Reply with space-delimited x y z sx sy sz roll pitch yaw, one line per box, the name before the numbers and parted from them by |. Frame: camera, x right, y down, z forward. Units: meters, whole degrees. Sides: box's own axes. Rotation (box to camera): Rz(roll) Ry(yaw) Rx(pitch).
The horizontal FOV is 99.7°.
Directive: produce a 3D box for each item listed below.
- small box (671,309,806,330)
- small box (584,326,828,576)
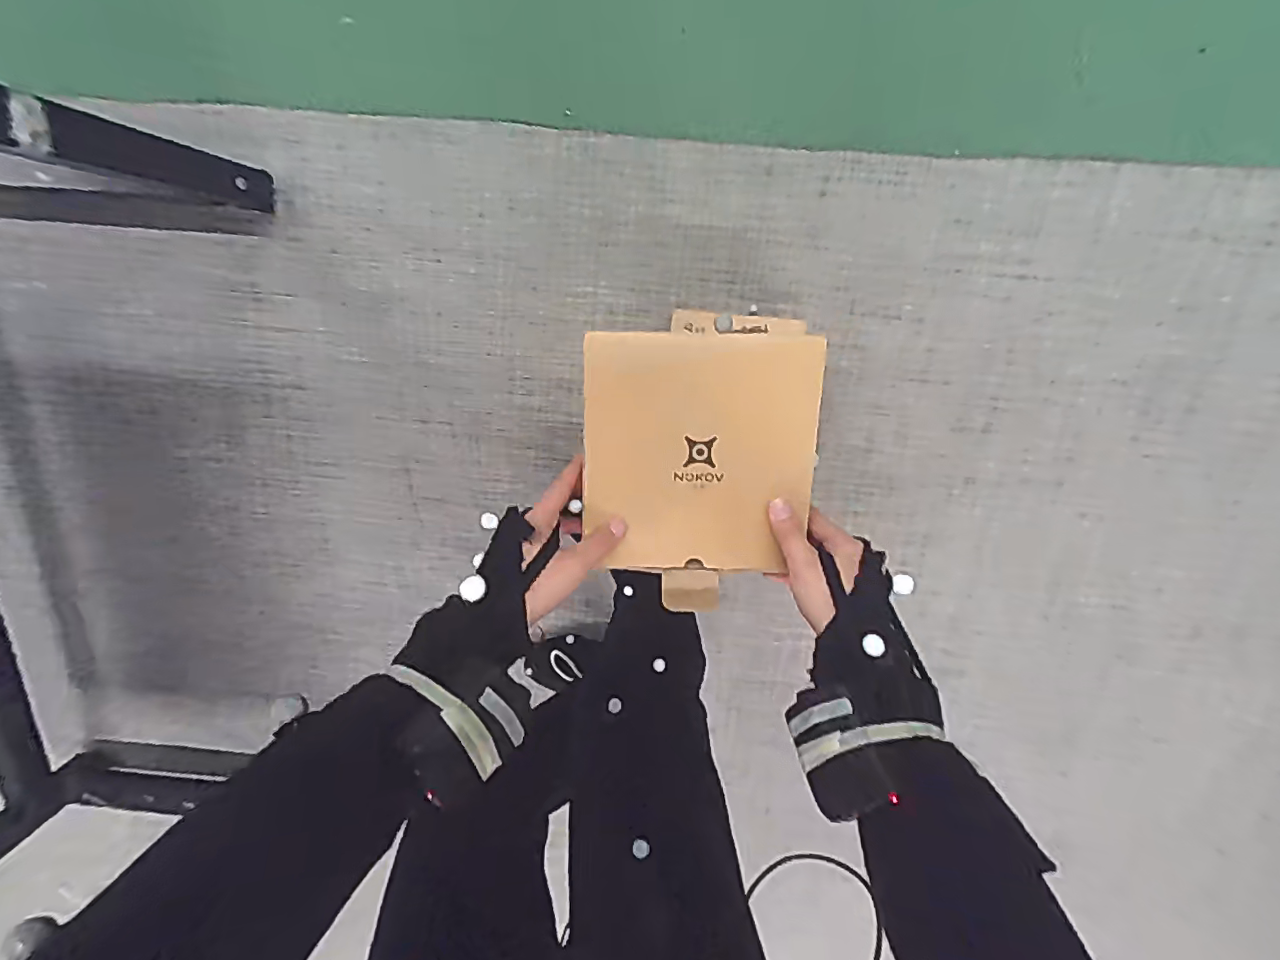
small box | 0.119 -0.140 0.755 0.168 0.176 0.179 6 108 2
small box | 0.041 -0.035 0.453 0.168 0.176 0.179 1 105 0
